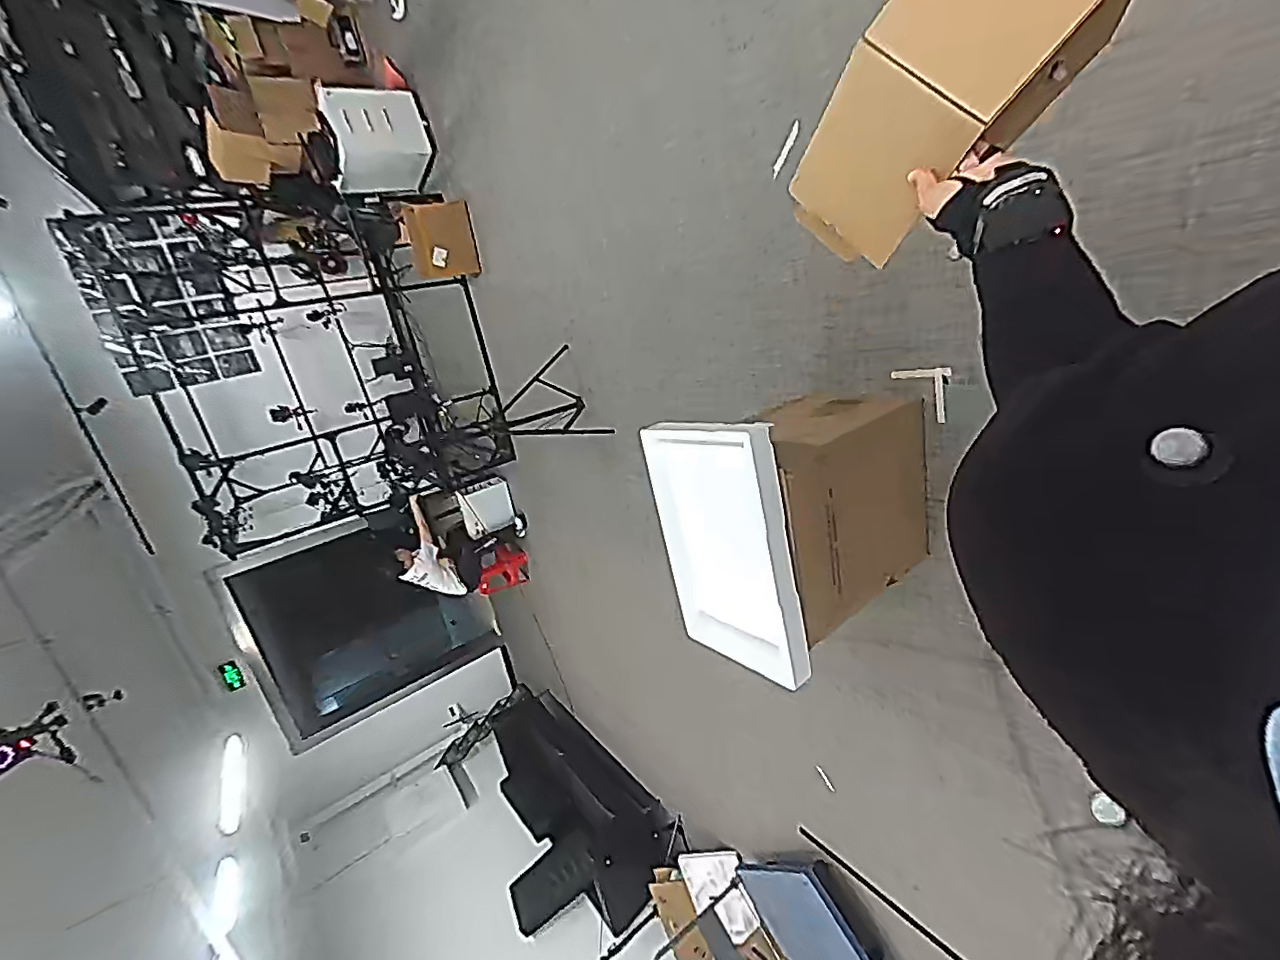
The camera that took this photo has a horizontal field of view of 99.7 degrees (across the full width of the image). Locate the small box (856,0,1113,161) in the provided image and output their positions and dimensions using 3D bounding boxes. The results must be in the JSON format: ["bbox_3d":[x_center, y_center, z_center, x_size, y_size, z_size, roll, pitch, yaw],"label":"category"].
[{"bbox_3d":[0.358,-0.475,0.560,0.168,0.176,0.179,48,117,12],"label":"small box"}]
